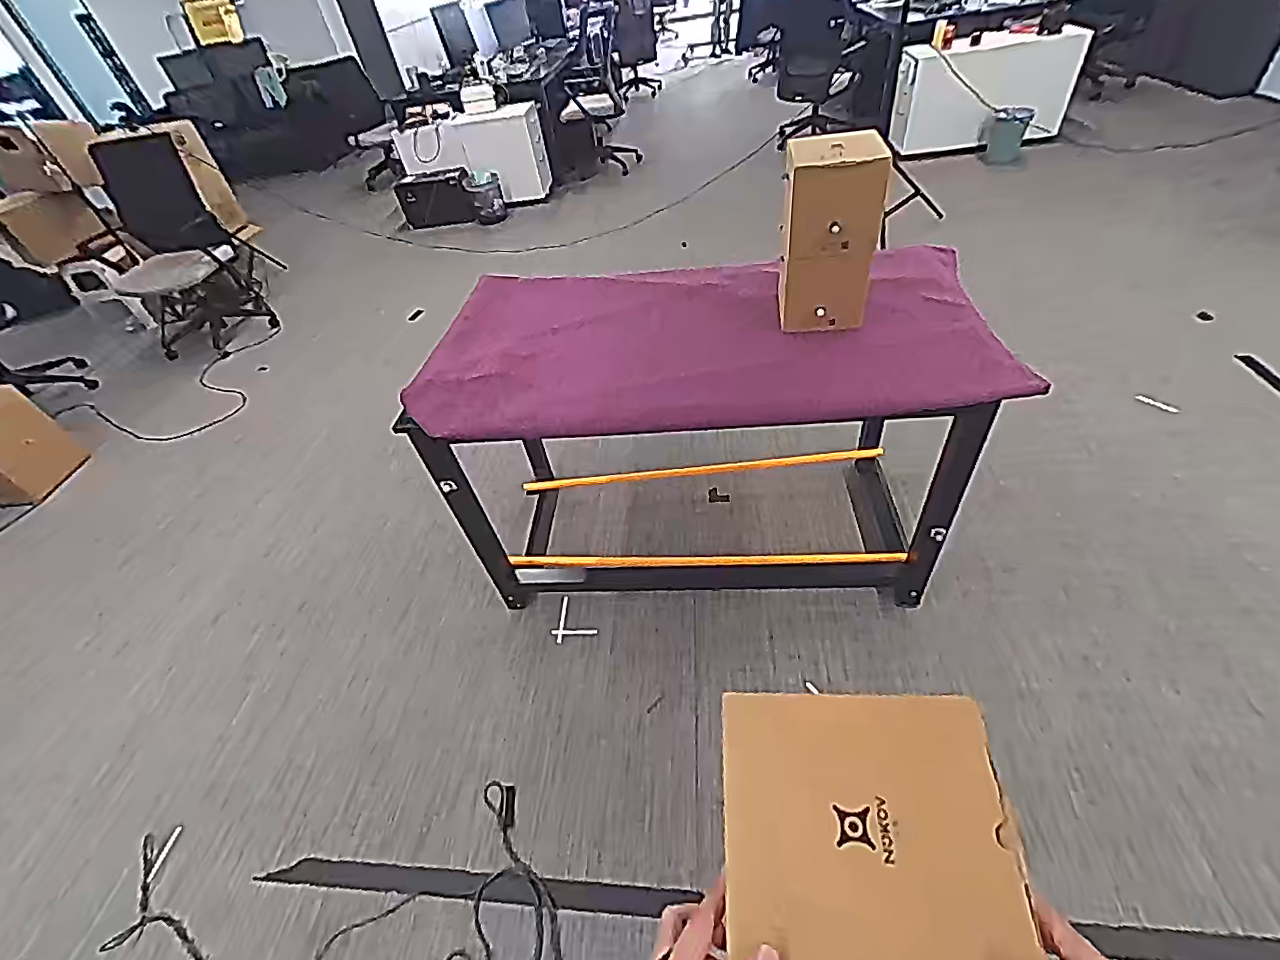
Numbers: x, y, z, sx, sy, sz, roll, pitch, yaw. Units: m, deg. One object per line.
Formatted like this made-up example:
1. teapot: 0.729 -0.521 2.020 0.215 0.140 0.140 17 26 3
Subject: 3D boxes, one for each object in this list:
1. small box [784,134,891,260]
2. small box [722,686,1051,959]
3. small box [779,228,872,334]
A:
1. small box: 0.374 -0.551 1.058 0.168 0.176 0.179 -1 46 11
2. small box: 0.158 0.263 0.405 0.179 0.176 0.168 -4 53 12
3. small box: 0.393 -0.436 1.175 0.168 0.176 0.179 0 46 11
